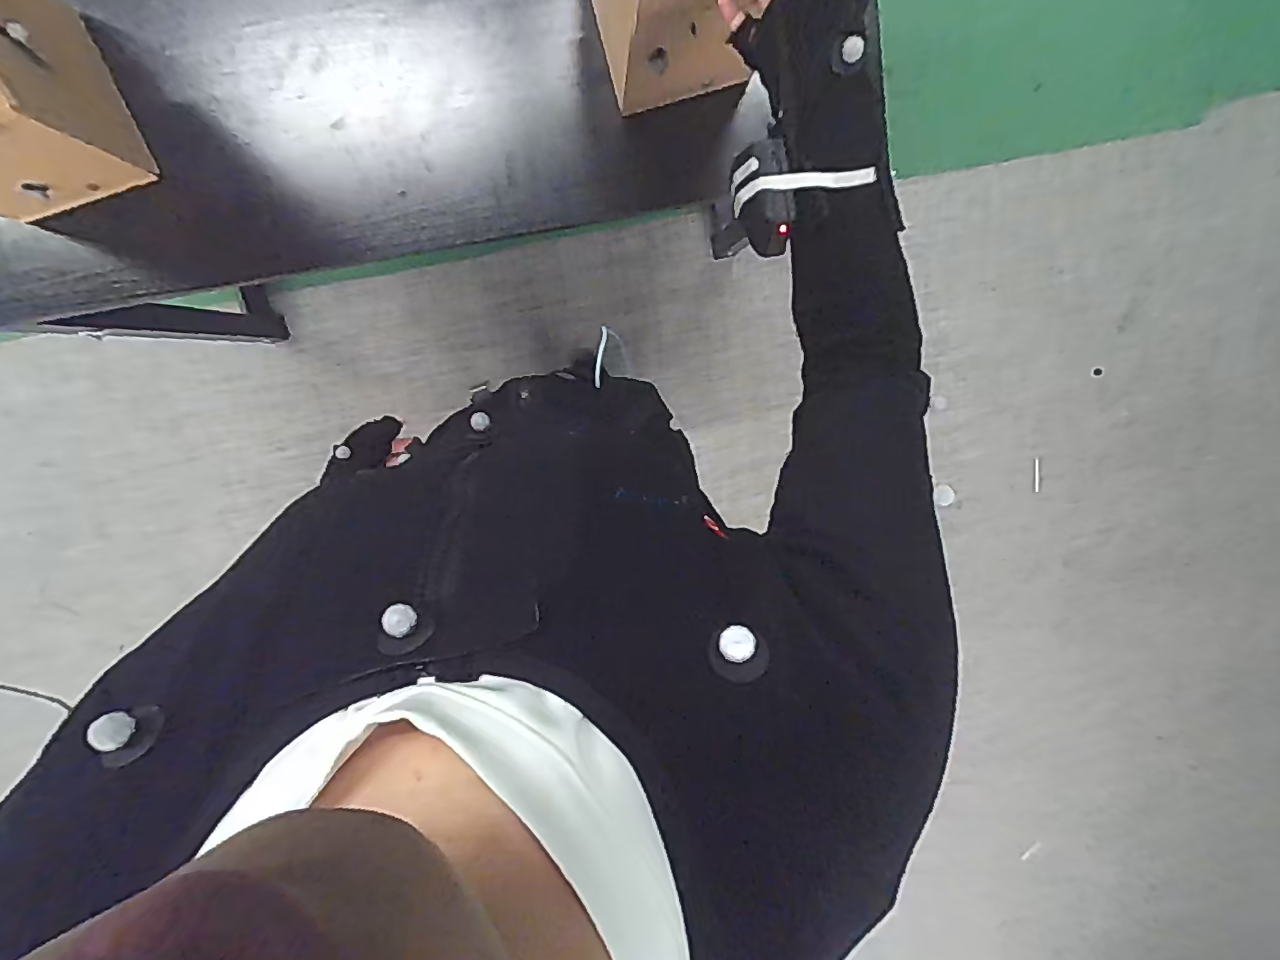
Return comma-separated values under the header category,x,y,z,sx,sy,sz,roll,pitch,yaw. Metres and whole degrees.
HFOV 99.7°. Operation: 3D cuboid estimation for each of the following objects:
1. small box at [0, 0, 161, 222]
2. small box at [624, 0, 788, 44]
category,x,y,z,sx,sy,sz,roll,pitch,yaw
small box,-0.640,-0.380,0.524,0.168,0.176,0.179,-20,104,-2
small box,0.054,-0.484,0.399,0.168,0.176,0.179,-19,103,-1
